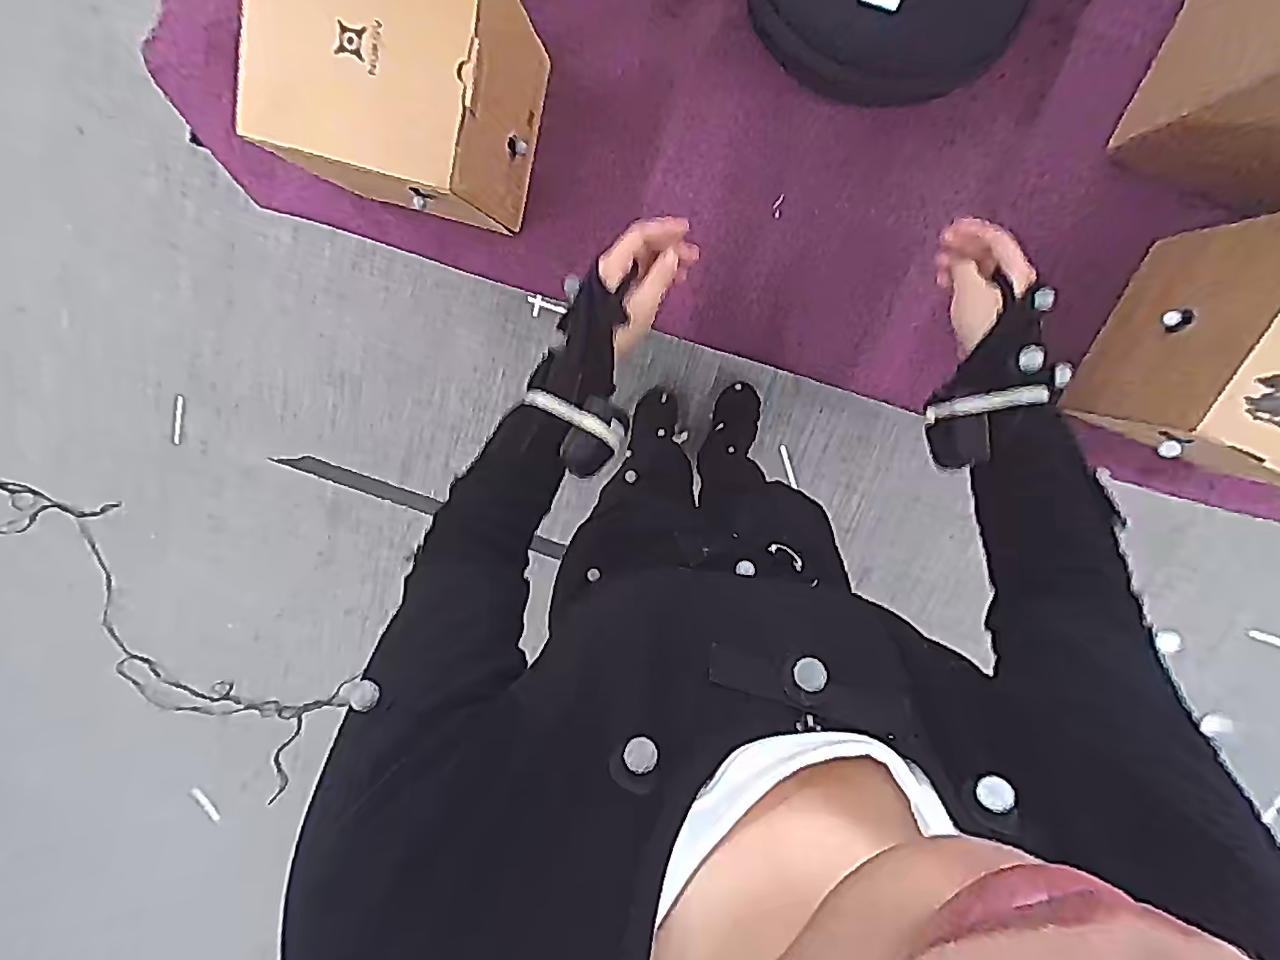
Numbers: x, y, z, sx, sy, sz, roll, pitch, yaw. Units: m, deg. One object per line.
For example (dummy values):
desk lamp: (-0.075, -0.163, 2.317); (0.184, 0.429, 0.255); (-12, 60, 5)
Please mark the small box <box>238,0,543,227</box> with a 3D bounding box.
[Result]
small box: (-0.202, -0.341, 0.475); (0.179, 0.176, 0.168); (15, 104, 0)
